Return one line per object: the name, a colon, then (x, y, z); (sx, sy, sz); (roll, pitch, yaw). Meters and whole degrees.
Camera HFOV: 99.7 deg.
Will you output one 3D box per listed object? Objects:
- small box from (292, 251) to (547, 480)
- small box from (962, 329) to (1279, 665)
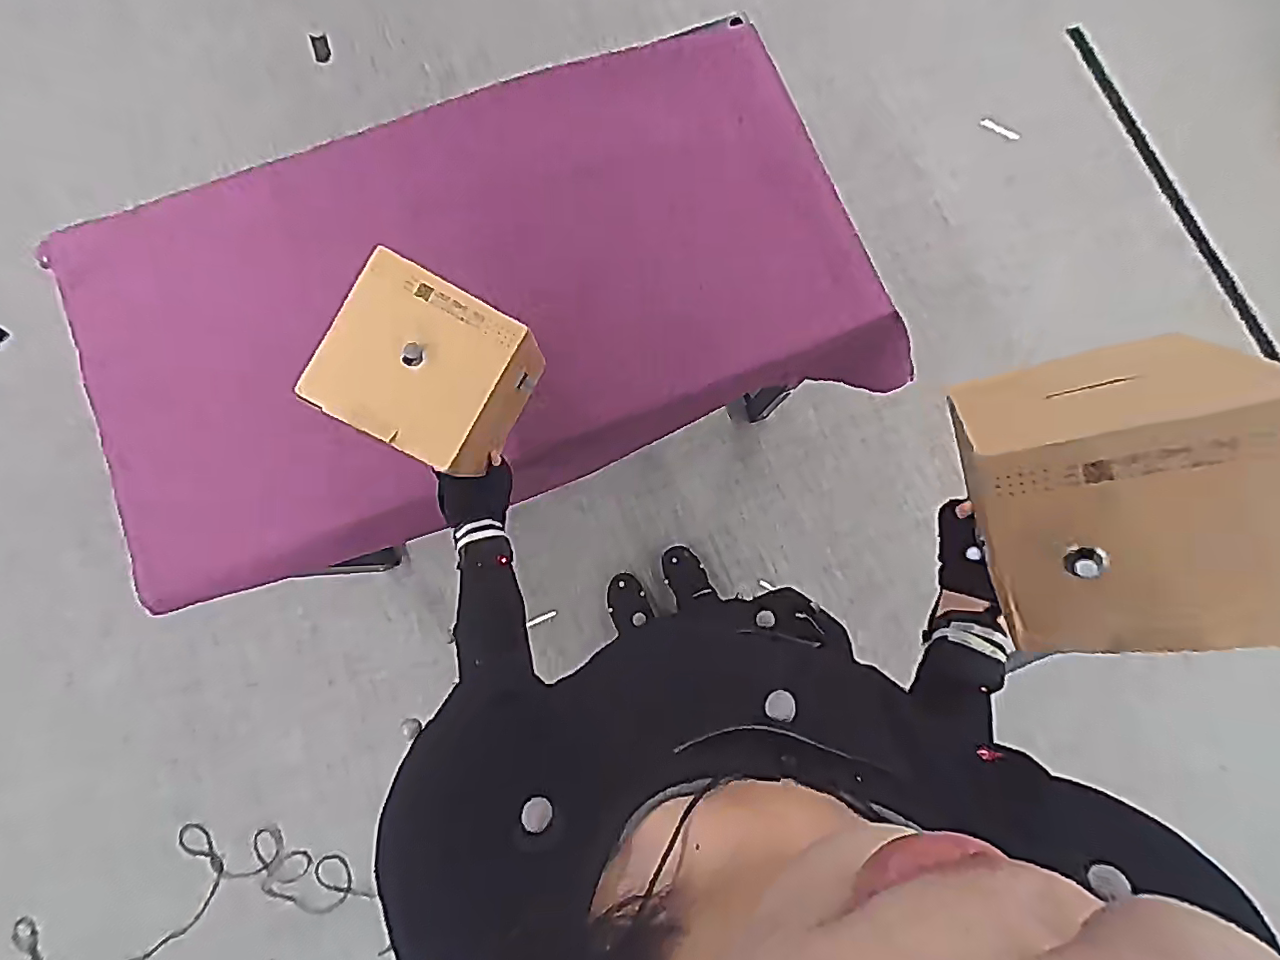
small box: (-0.218, -0.113, 0.587); (0.168, 0.179, 0.176); (30, 89, -3)
small box: (0.349, 0.007, 0.393); (0.168, 0.179, 0.176); (-12, 110, 27)
